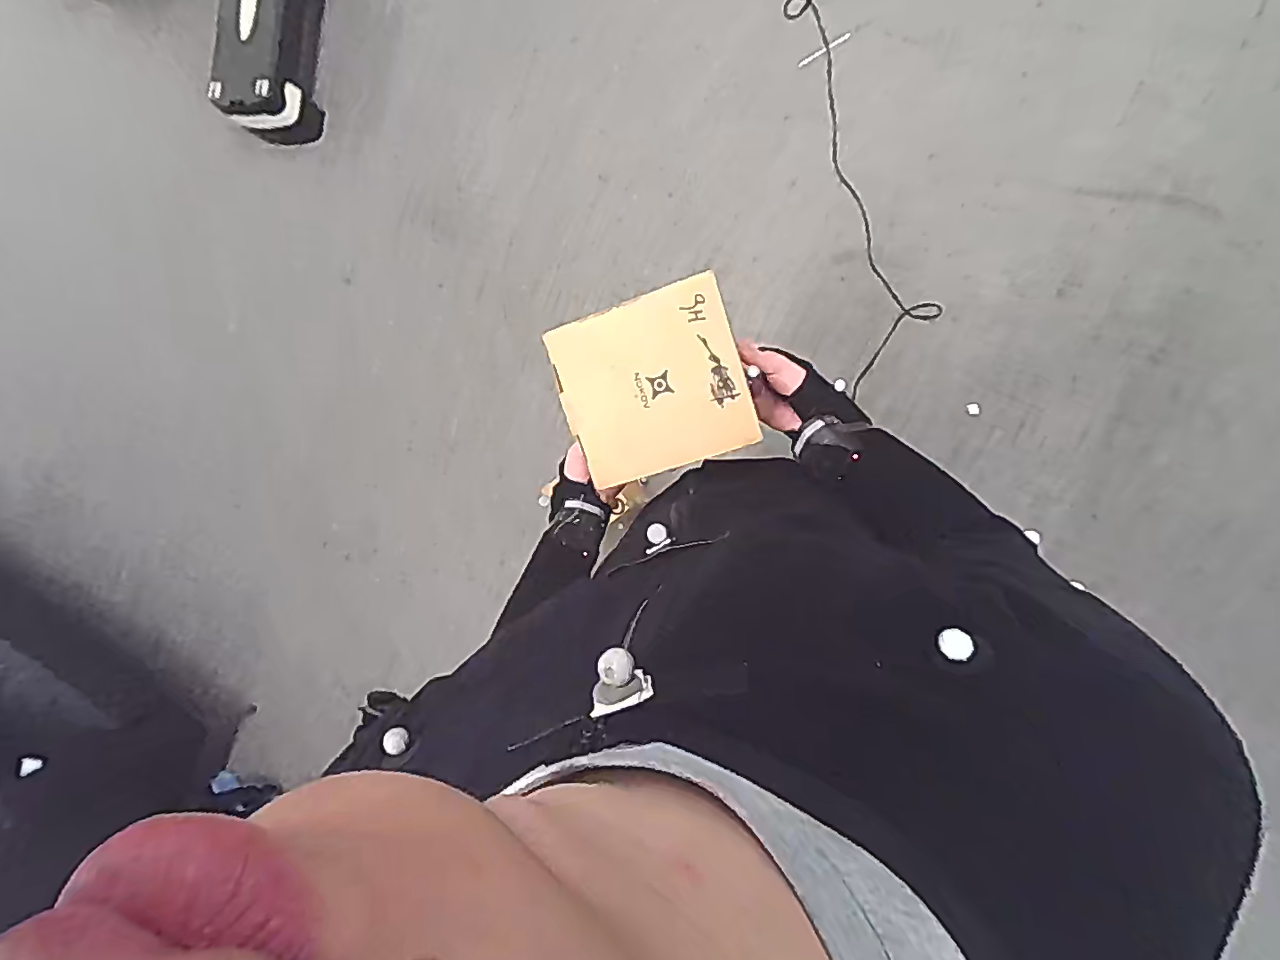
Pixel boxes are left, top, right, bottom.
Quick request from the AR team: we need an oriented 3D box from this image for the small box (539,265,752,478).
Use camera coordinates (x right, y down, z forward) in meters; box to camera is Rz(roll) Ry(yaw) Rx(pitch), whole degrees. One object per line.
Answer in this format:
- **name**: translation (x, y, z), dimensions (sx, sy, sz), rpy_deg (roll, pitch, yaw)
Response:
- **small box**: translation (0.019, -0.115, 0.593), dimensions (0.179, 0.176, 0.168), rpy_deg (-15, 101, 14)

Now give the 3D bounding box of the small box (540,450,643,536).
- **small box**: translation (-0.118, 0.020, 1.384), dimensions (0.168, 0.176, 0.179), rpy_deg (-38, 83, 15)
